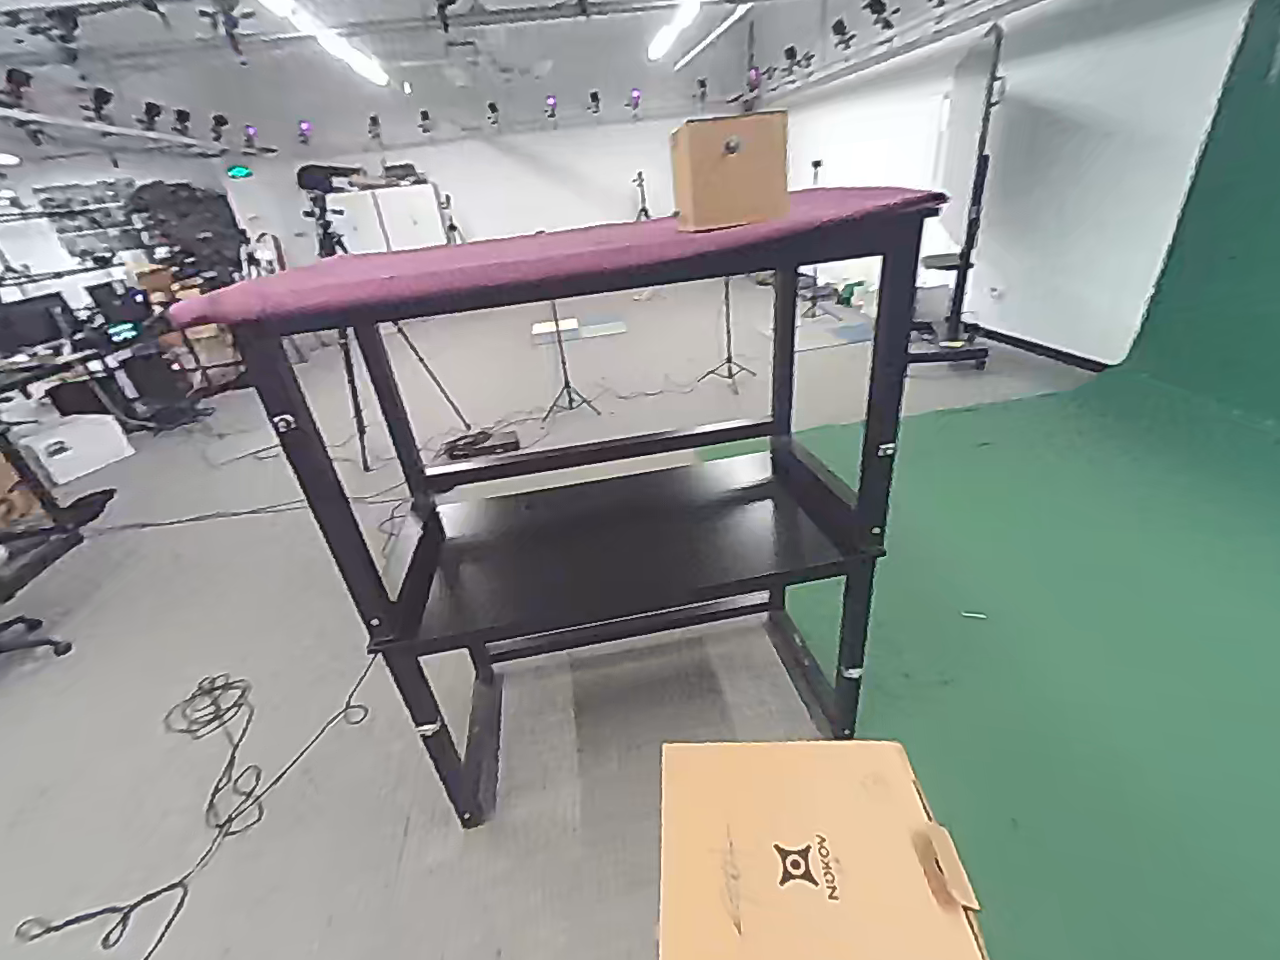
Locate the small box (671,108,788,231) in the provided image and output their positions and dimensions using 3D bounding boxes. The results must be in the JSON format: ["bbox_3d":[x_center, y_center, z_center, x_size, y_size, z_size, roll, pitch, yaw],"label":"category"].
[{"bbox_3d":[0.163,-0.557,0.991,0.179,0.176,0.168,-9,27,-4],"label":"small box"}]

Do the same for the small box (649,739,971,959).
[{"bbox_3d":[0.102,0.306,0.374,0.179,0.176,0.168,-5,29,6],"label":"small box"}]
